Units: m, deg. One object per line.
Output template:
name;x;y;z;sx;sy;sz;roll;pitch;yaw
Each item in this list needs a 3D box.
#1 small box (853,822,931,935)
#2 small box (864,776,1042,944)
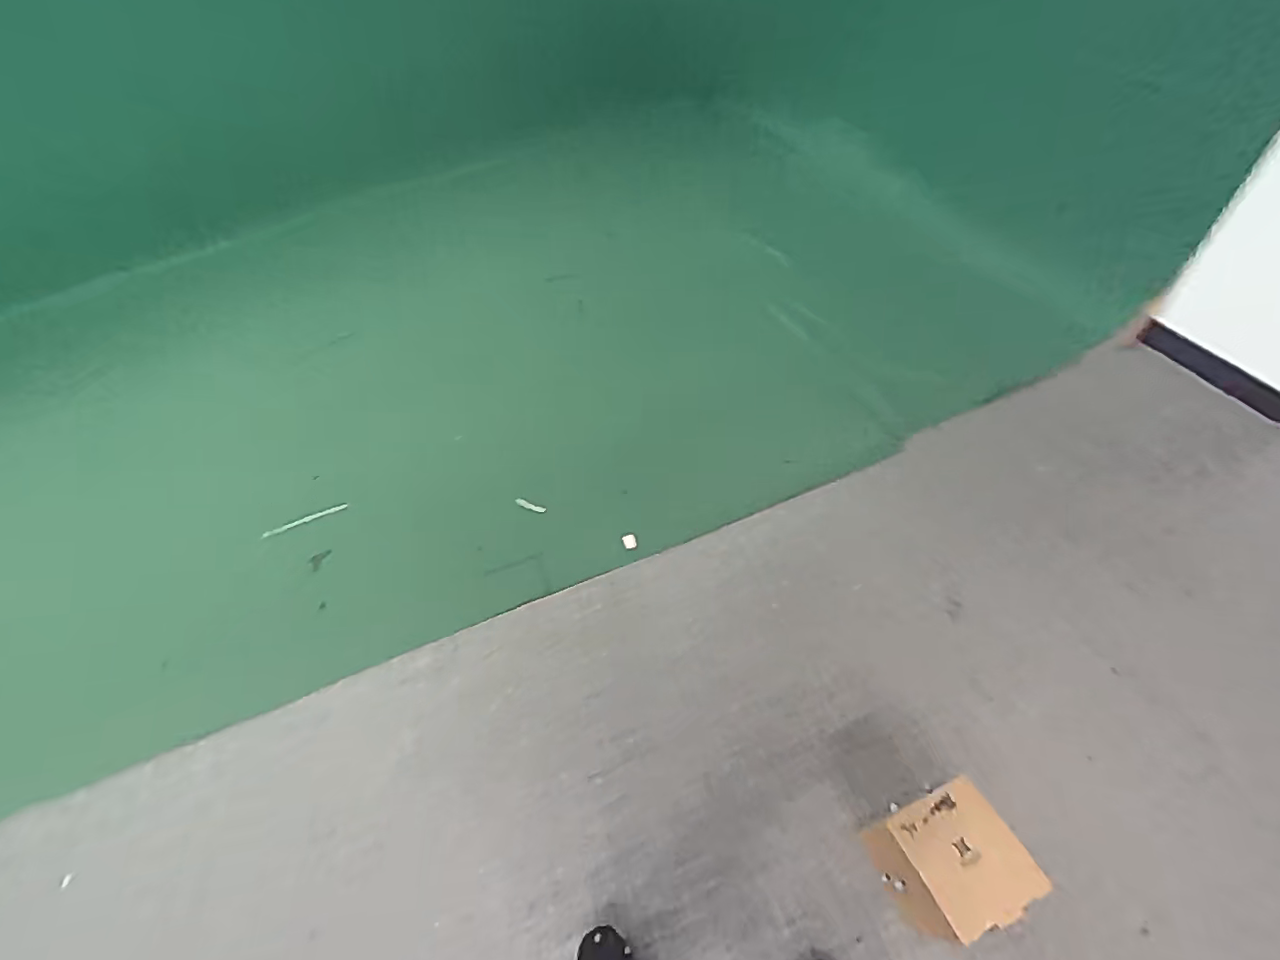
small box;0.539;0.733;1.041;0.168;0.176;0.179;-21;51;-6
small box;0.511;0.634;0.914;0.168;0.176;0.179;-24;53;-7
